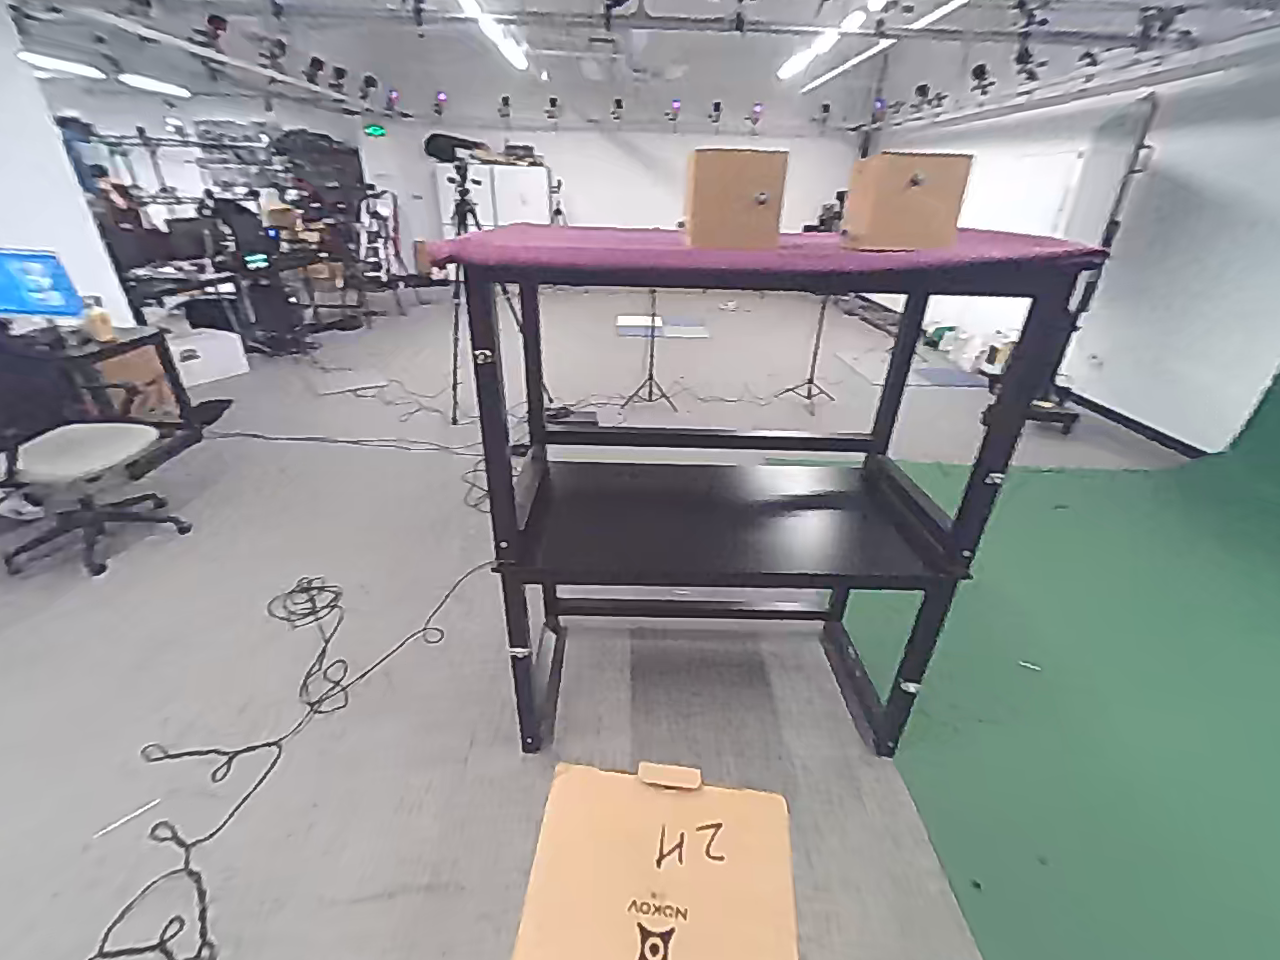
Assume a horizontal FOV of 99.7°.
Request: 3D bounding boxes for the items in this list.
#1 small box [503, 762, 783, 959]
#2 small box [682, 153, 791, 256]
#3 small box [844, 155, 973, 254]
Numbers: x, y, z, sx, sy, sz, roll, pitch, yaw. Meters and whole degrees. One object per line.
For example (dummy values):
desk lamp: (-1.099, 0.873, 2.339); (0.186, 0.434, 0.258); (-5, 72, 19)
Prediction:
small box: (0.002, 0.331, 0.379); (0.168, 0.176, 0.179); (6, 41, 3)
small box: (0.181, -0.545, 1.072); (0.179, 0.176, 0.168); (0, 28, -2)
small box: (0.529, -0.552, 1.097); (0.179, 0.176, 0.168); (2, 26, 0)
